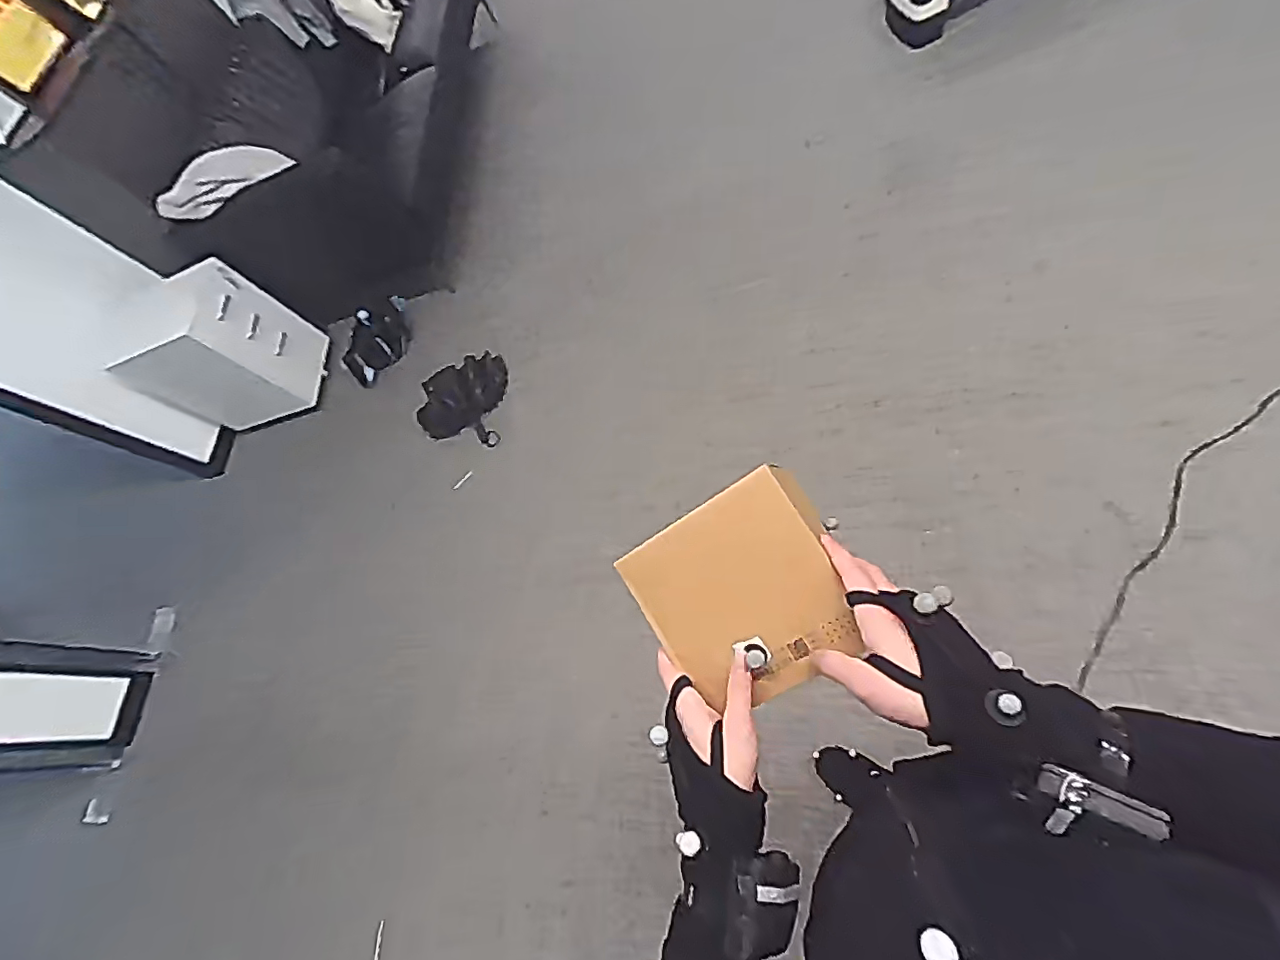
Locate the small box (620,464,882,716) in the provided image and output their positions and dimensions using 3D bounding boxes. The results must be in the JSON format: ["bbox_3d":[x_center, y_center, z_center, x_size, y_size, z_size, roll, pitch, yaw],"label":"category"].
[{"bbox_3d":[0.114,0.100,0.536,0.168,0.179,0.176,-36,79,16],"label":"small box"}]
